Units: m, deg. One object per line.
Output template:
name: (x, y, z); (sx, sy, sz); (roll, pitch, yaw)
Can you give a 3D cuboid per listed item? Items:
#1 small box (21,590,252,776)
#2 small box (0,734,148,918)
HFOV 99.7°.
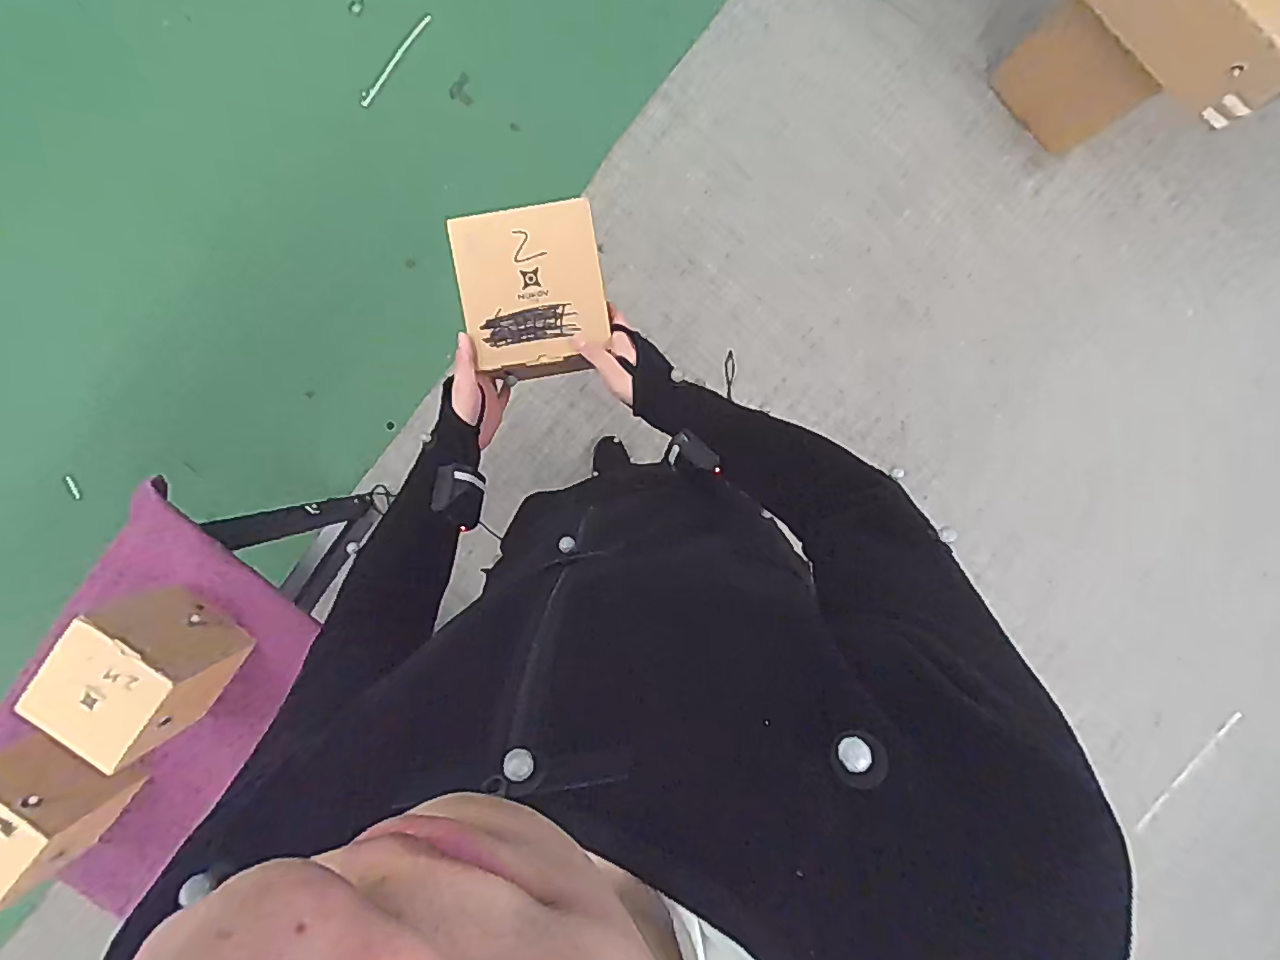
small box: (-0.766, 0.305, 0.846); (0.168, 0.176, 0.179); (37, 94, -5)
small box: (-0.965, 0.536, 0.869); (0.168, 0.176, 0.179); (39, 94, -4)
